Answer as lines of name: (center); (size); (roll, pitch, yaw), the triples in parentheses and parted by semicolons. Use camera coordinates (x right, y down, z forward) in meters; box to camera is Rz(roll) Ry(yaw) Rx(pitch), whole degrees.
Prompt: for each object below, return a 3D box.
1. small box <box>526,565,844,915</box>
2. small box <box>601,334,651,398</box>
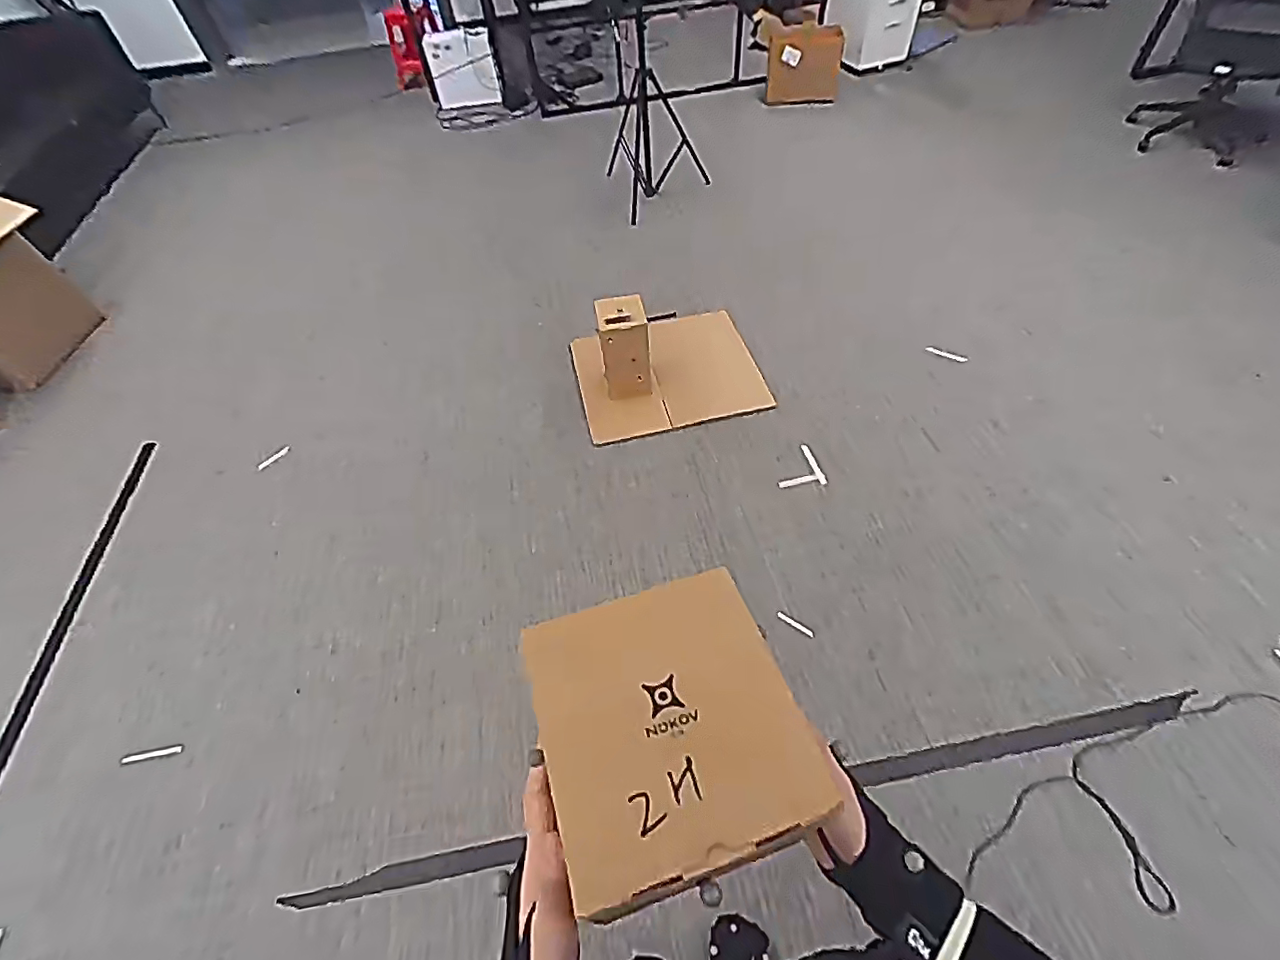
small box: (0.020, 0.199, 0.417); (0.168, 0.176, 0.179); (-16, 51, -11)
small box: (-0.053, -0.428, 2.067); (0.168, 0.176, 0.179); (-8, 52, -3)
